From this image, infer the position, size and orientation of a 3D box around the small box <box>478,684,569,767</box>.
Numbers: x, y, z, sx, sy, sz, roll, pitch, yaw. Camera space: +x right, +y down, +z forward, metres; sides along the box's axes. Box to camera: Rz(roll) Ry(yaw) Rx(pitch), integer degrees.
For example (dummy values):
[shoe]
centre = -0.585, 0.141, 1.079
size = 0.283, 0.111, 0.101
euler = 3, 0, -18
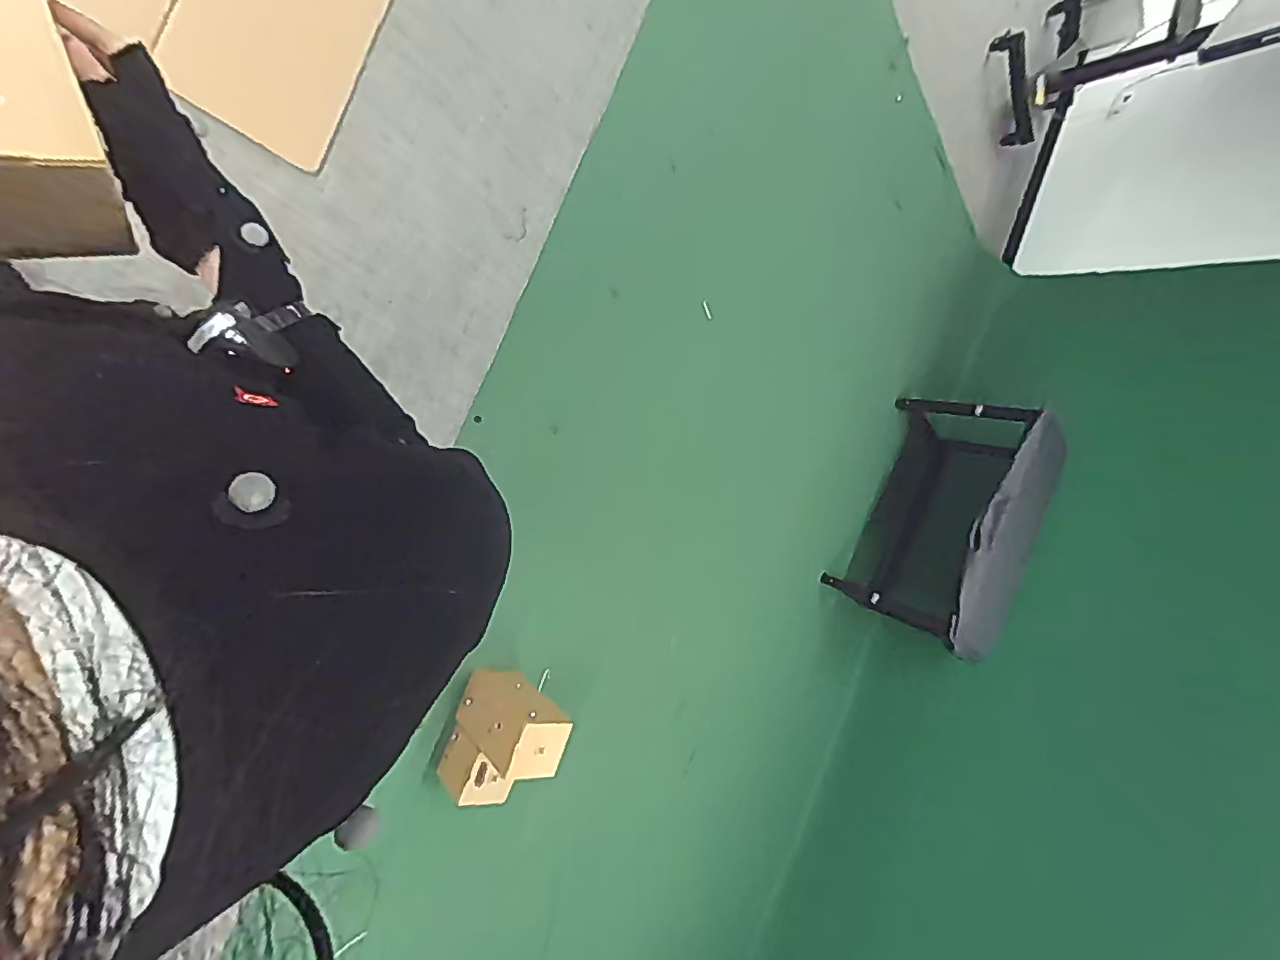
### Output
[small box]
centre = -0.349, 0.723, 1.608
size = 0.179, 0.176, 0.168
euler = 23, 87, -42
